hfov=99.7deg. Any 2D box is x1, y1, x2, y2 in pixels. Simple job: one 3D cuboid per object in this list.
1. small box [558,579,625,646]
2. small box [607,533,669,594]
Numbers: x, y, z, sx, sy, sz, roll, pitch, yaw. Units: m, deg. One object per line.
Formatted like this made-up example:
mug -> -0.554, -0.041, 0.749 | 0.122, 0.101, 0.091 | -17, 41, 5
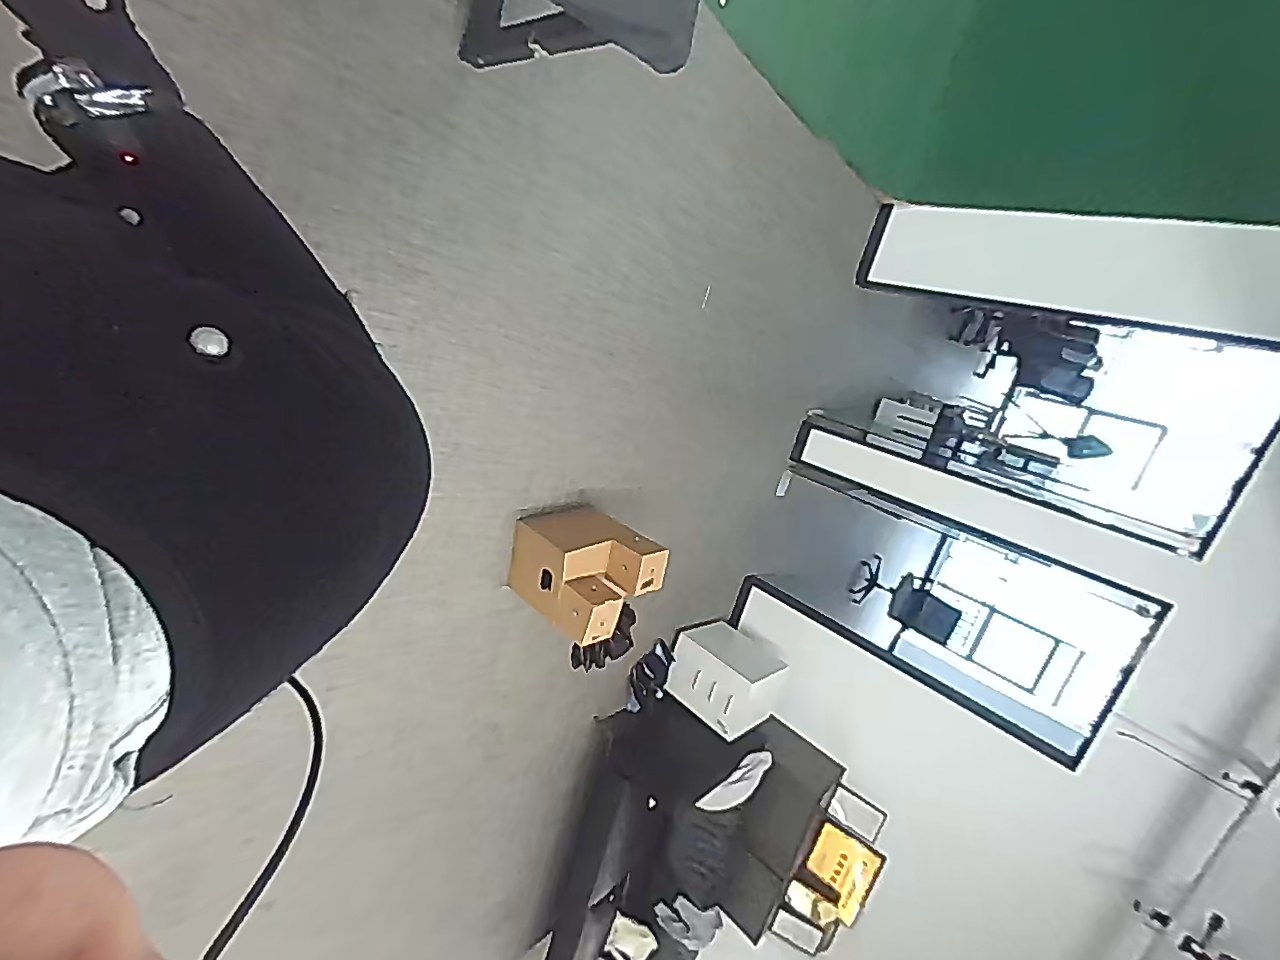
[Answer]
small box -> -0.186, 0.490, 2.039 | 0.168, 0.176, 0.179 | -4, 114, -50
small box -> -0.012, 0.330, 2.163 | 0.168, 0.176, 0.179 | -7, 112, -49
